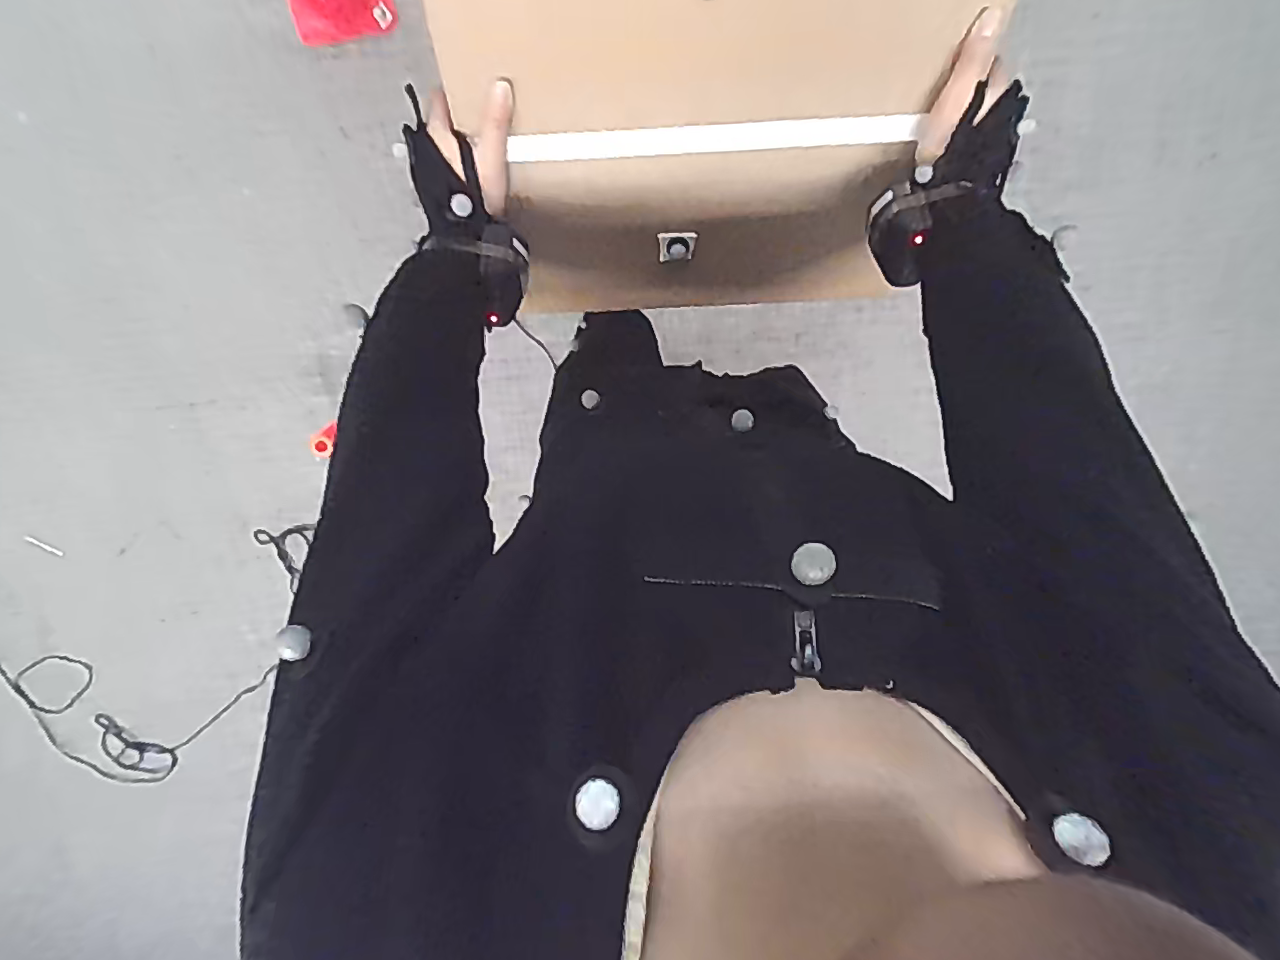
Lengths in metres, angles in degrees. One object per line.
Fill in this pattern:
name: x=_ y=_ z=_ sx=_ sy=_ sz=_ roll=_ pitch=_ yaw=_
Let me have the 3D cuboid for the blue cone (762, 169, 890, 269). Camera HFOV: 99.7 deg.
blue cone: x=0.359 y=-0.506 z=1.014 sx=0.192 sy=0.380 sz=0.193 roll=-4 pitch=109 yaw=1

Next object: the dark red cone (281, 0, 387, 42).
dark red cone: x=-0.587 y=-0.900 z=0.844 sx=0.202 sy=0.394 sz=0.201 roll=-11 pitch=105 yaw=4
